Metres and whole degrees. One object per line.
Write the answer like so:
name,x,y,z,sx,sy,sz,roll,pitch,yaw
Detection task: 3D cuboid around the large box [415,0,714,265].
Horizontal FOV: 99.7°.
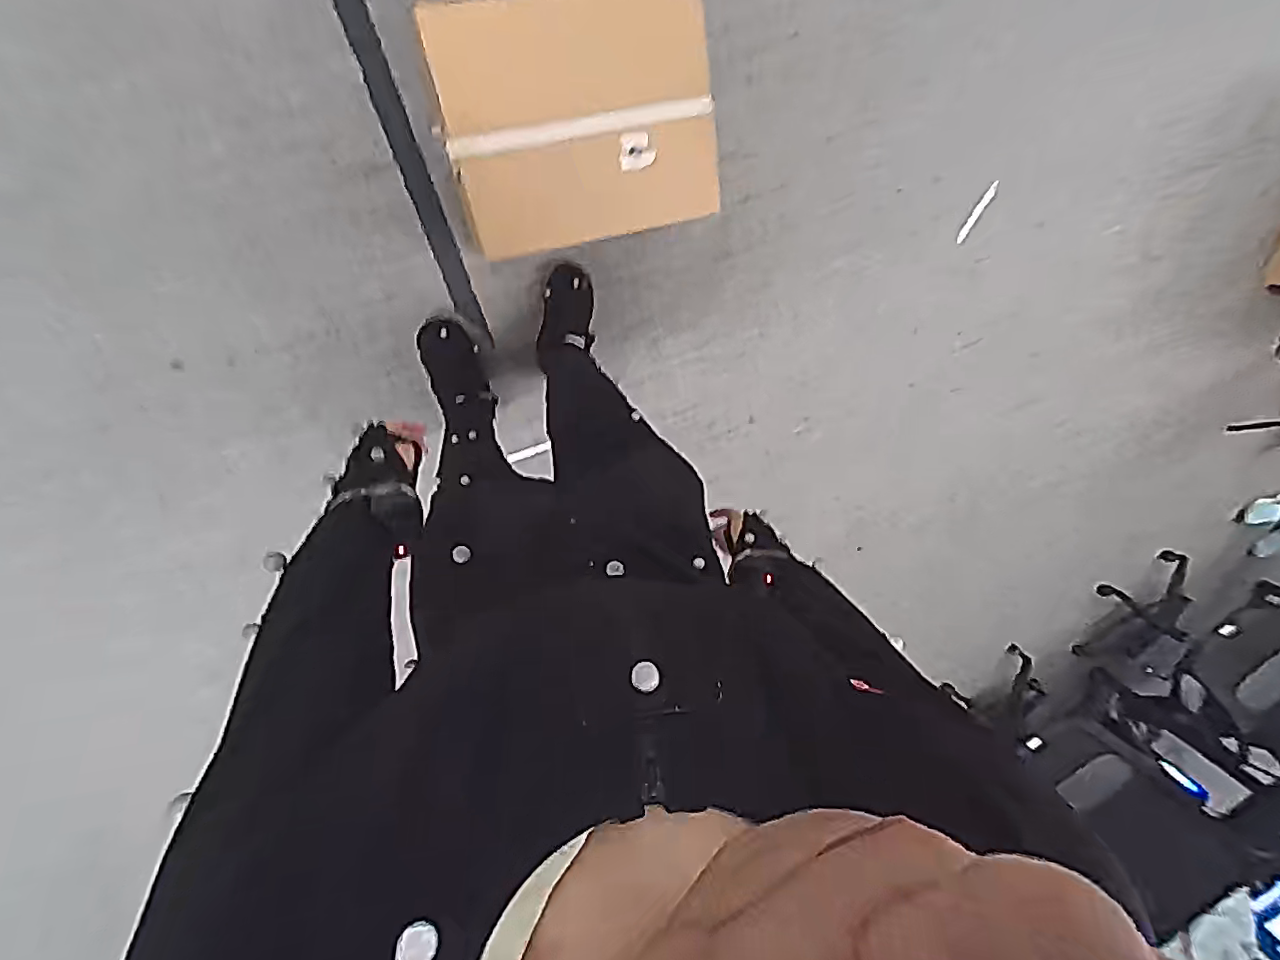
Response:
large box,-0.131,-0.587,0.938,0.408,0.320,0.320,-18,121,-12
